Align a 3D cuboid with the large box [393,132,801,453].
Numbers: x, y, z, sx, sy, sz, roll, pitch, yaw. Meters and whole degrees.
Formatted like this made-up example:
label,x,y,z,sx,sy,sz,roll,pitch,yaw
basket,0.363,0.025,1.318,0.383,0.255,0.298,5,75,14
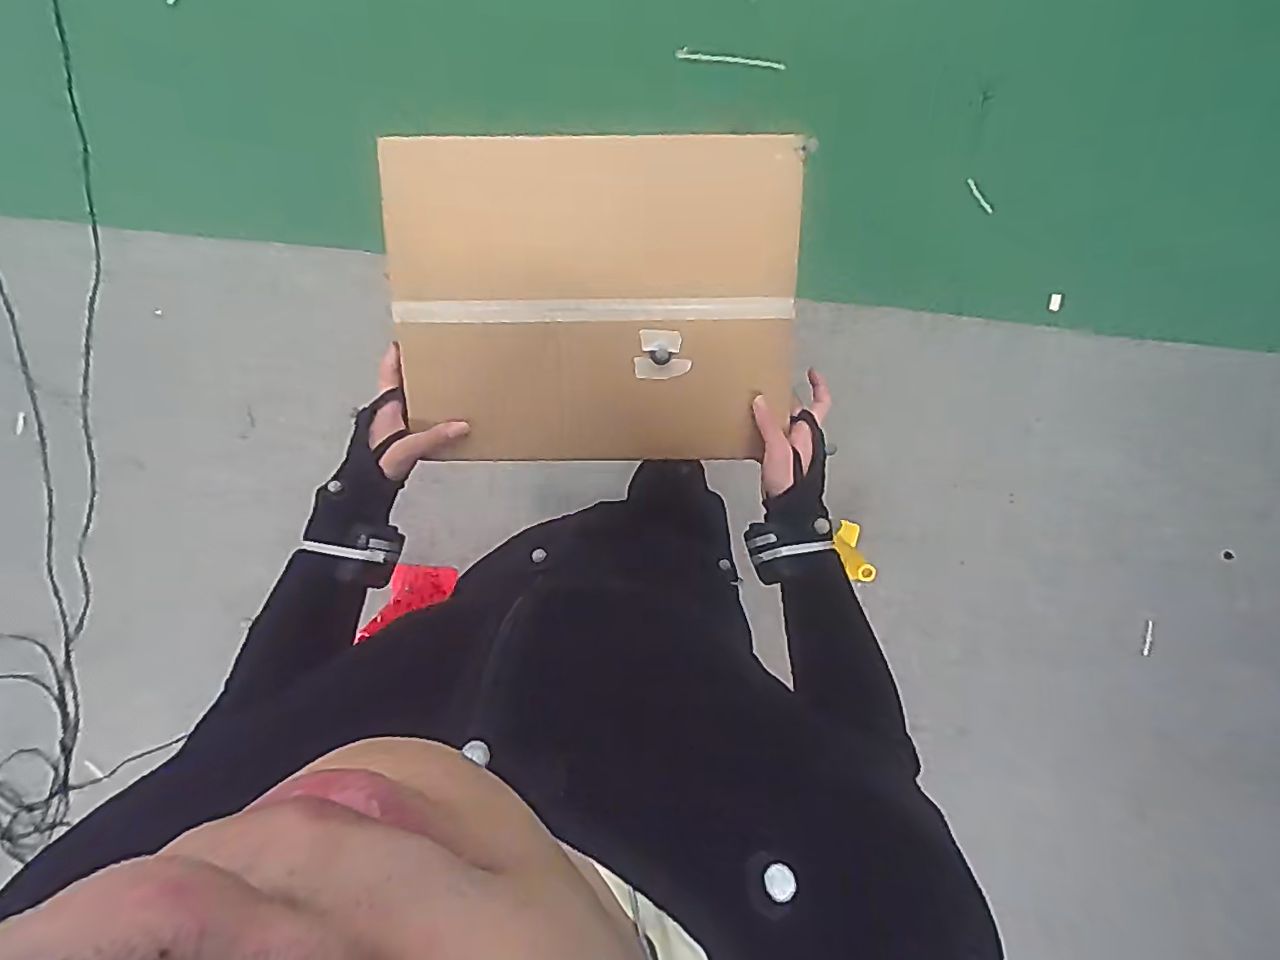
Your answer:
label,x,y,z,sx,sy,sz,roll,pitch,yaw
large box,-0.042,-0.218,0.701,0.408,0.320,0.320,-1,104,-1
